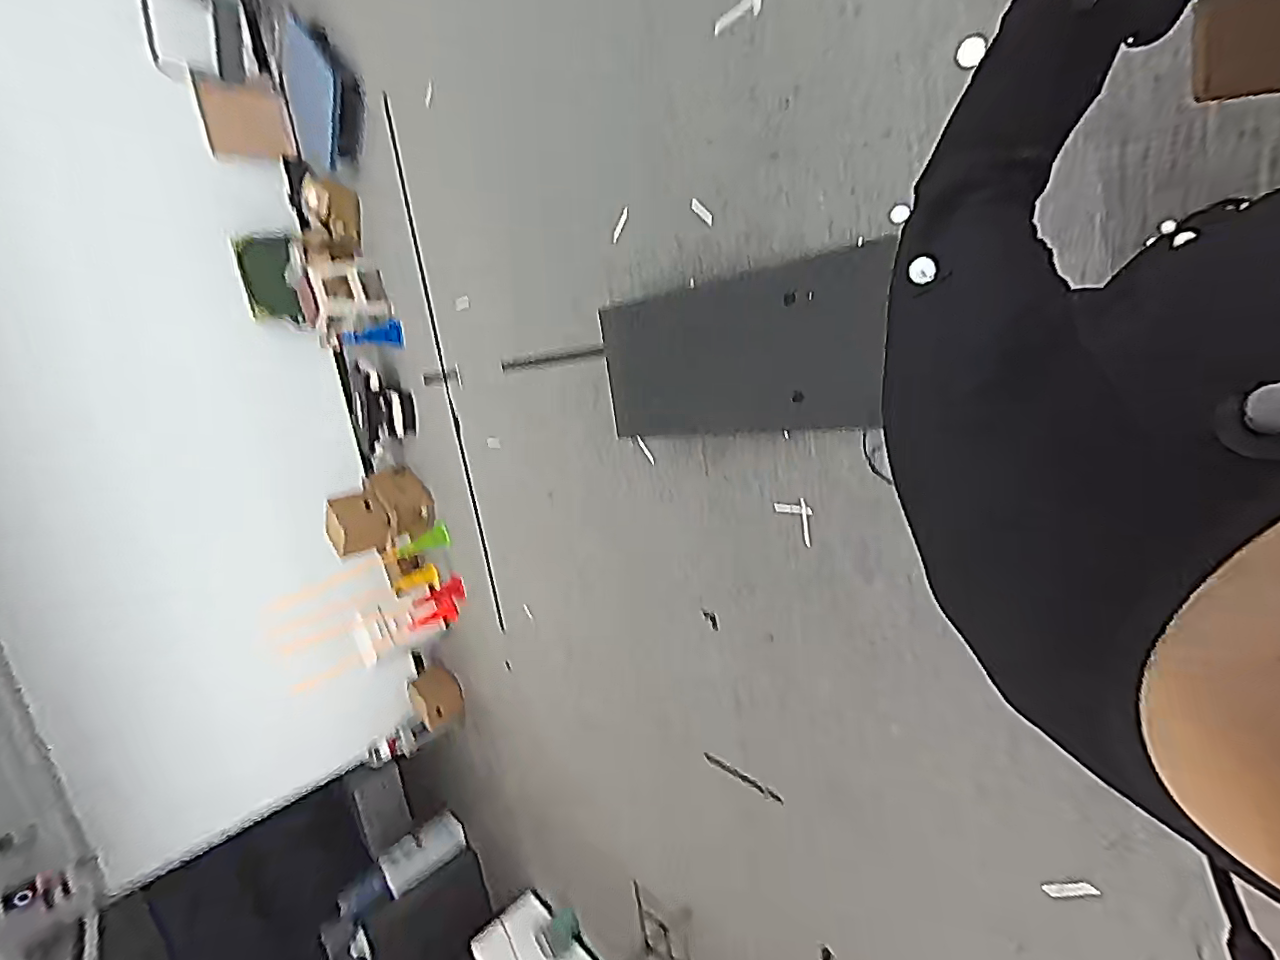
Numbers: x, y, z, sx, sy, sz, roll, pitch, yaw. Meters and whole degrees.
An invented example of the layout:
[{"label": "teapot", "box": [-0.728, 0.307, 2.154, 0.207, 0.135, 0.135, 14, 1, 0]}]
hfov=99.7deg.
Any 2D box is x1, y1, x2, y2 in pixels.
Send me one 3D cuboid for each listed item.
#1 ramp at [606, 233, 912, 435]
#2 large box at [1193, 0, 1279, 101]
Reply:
[{"label": "ramp", "box": [0.308, -0.405, 1.714, 0.991, 0.206, 0.509, 2, 105, 47]}, {"label": "large box", "box": [0.581, -0.440, 0.250, 0.408, 0.320, 0.320, 20, 113, 41]}]
